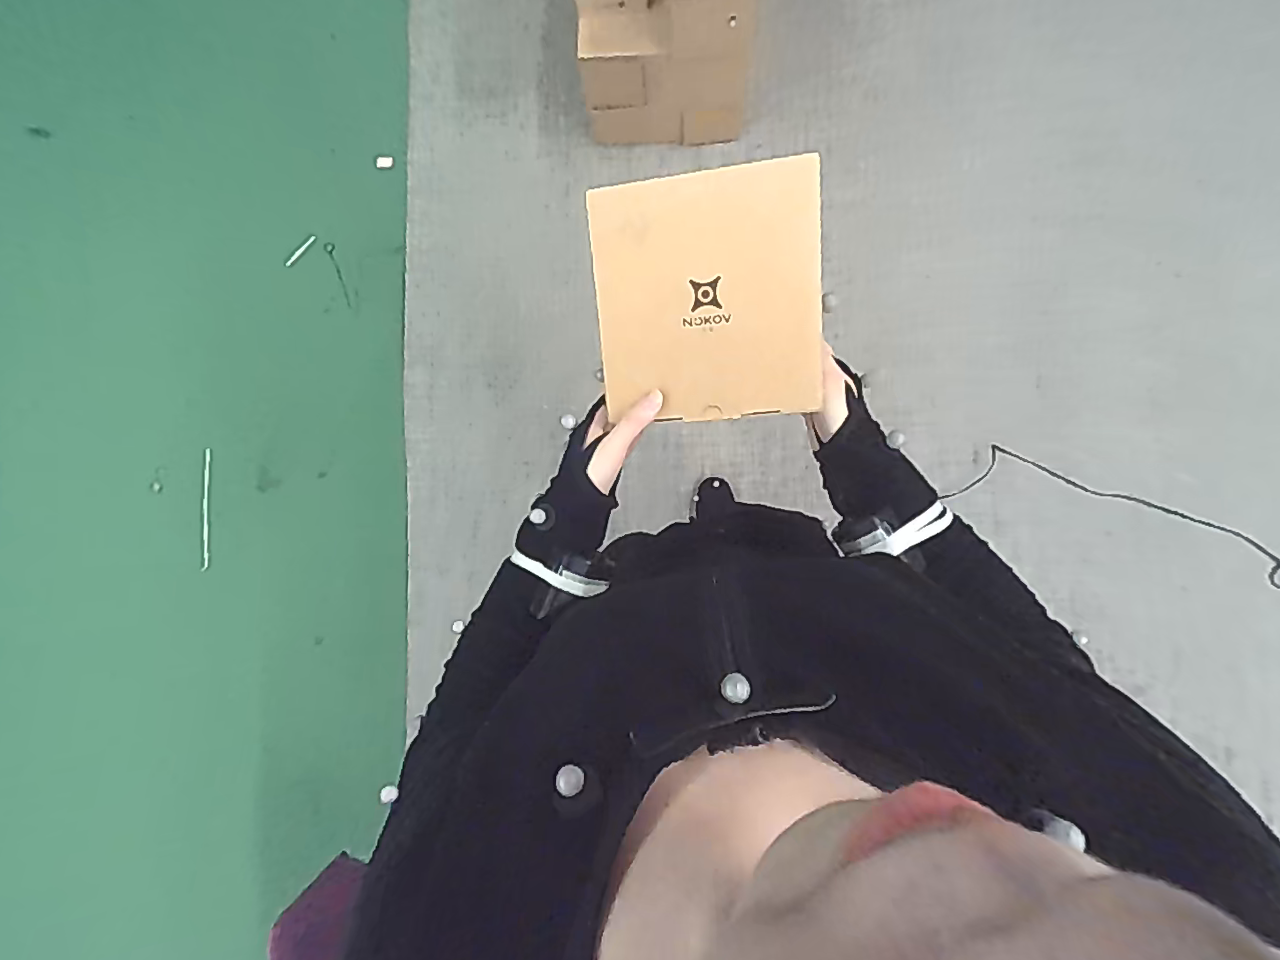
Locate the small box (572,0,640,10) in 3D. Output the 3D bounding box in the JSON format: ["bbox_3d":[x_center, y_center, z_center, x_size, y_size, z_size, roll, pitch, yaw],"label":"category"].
[{"bbox_3d":[-0.084,-1.181,1.172,0.168,0.176,0.179,1,86,7],"label":"small box"}]

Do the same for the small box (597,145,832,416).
[{"bbox_3d":[0.068,-0.157,0.471,0.168,0.176,0.179,-3,104,11],"label":"small box"}]
